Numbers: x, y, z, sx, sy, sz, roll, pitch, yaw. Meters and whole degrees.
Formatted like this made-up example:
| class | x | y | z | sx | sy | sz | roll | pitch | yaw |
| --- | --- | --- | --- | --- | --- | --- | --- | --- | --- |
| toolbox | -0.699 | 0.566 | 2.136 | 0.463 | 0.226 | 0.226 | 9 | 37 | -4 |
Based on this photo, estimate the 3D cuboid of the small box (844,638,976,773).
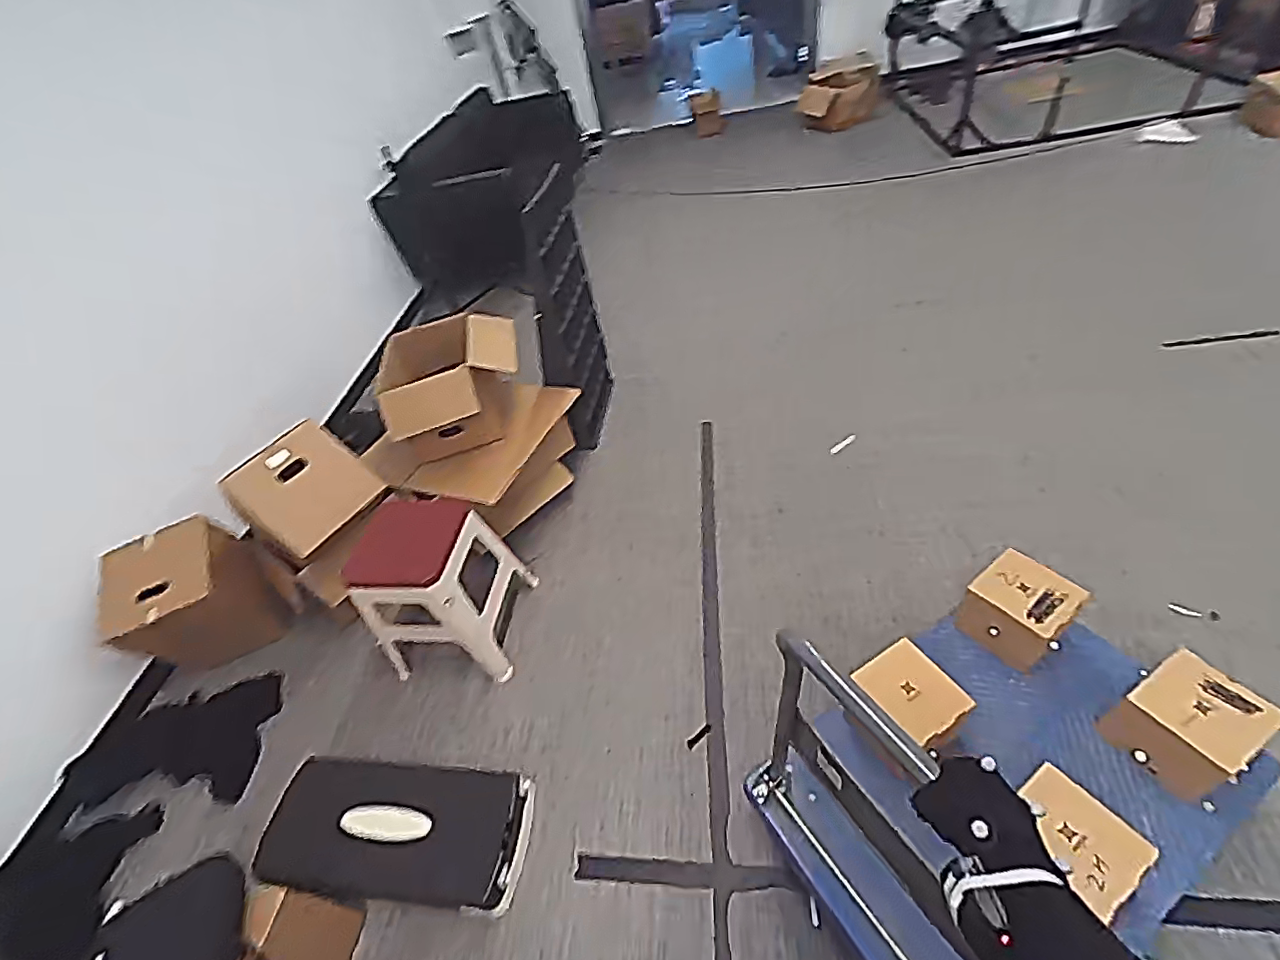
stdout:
| class | x | y | z | sx | sy | sz | roll | pitch | yaw |
| --- | --- | --- | --- | --- | --- | --- | --- | --- | --- |
| small box | 0.559 | 0.480 | 1.148 | 0.168 | 0.176 | 0.179 | -28 | 47 | -14 |

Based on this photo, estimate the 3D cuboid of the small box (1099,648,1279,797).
| class | x | y | z | sx | sy | sz | roll | pitch | yaw |
| --- | --- | --- | --- | --- | --- | --- | --- | --- | --- |
| small box | 1.039 | 0.465 | 1.036 | 0.179 | 0.176 | 0.168 | -30 | 46 | -14 |

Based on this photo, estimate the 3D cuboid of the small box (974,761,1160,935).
| class | x | y | z | sx | sy | sz | roll | pitch | yaw |
| --- | --- | --- | --- | --- | --- | --- | --- | --- | --- |
| small box | 0.724 | 0.641 | 0.941 | 0.168 | 0.176 | 0.179 | -32 | 46 | -17 |
